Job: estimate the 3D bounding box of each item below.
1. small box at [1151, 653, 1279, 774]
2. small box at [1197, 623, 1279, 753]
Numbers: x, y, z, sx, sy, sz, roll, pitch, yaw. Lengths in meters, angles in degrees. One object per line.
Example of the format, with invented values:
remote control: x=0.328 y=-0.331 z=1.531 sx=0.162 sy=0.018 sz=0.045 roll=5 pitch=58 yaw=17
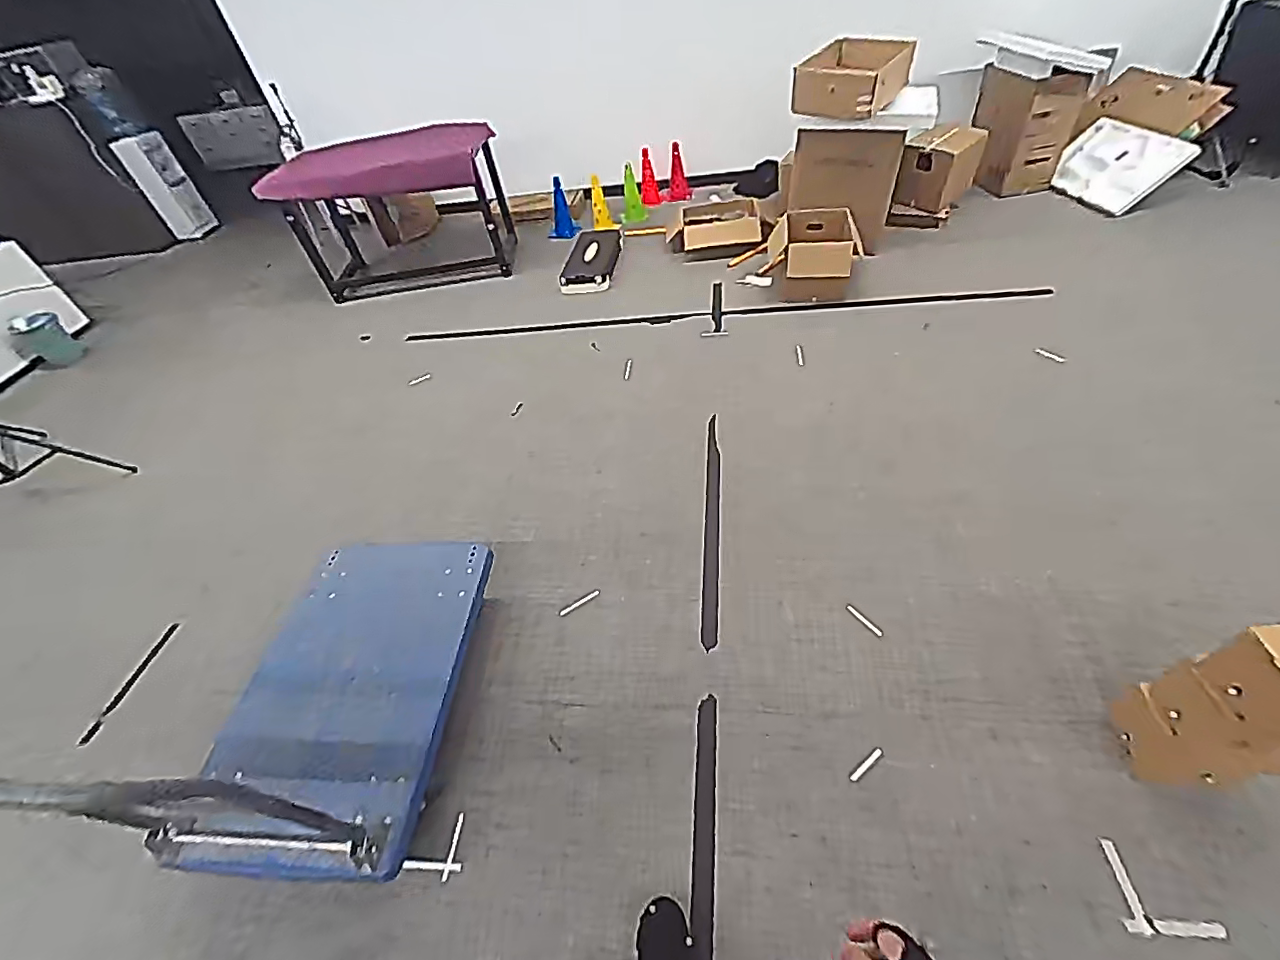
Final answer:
small box: x=1.188 y=0.465 z=1.072 sx=0.179 sy=0.176 sz=0.168 roll=1 pitch=46 yaw=12
small box: x=1.166 y=0.362 z=0.947 sx=0.179 sy=0.176 sz=0.168 roll=-7 pitch=45 yaw=4
